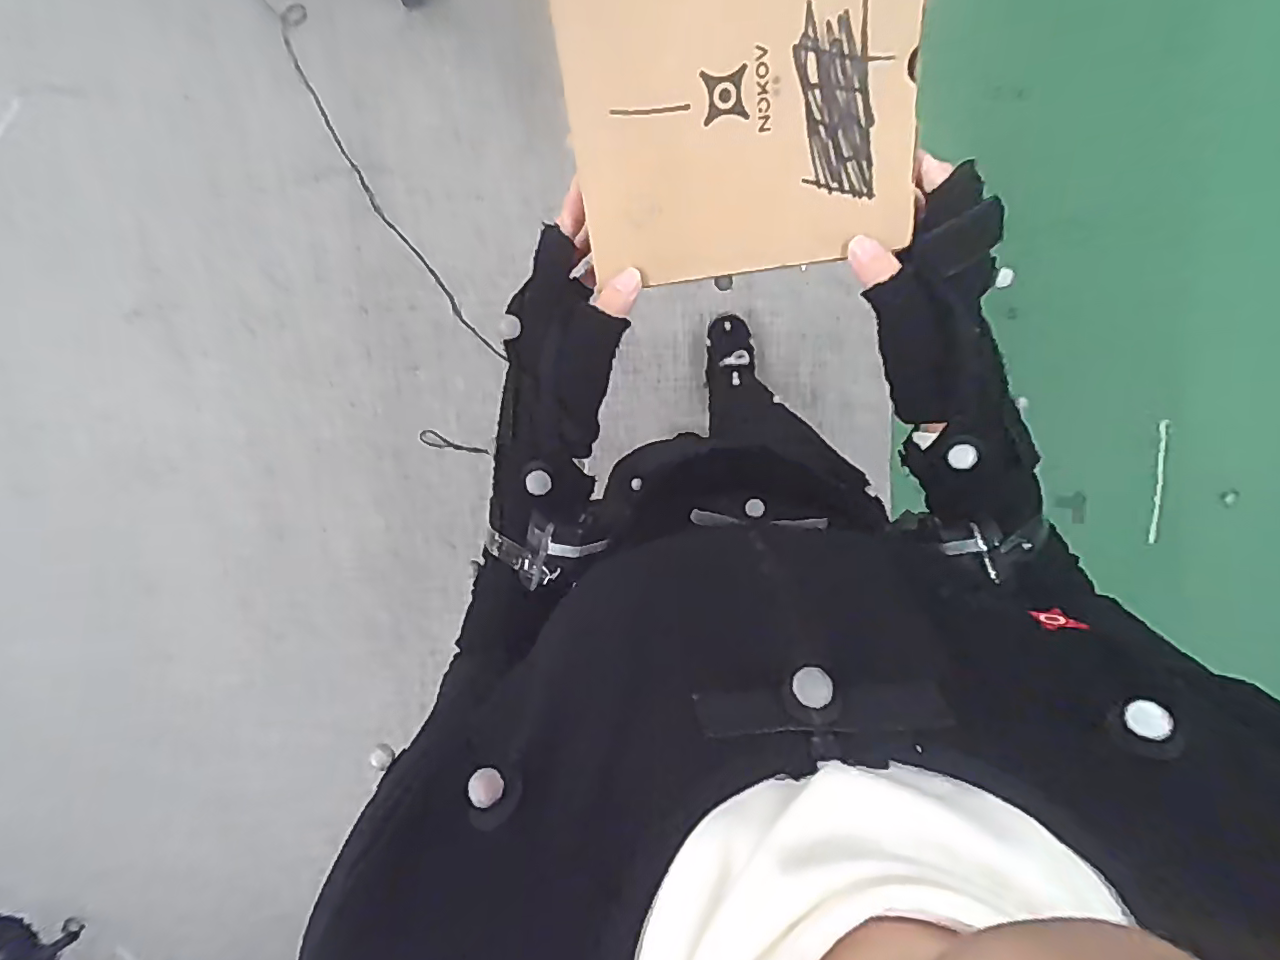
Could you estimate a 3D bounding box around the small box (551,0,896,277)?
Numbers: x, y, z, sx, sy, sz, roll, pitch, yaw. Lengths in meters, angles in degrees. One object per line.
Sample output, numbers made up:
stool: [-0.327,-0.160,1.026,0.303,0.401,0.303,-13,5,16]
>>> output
small box: [0.049,-0.239,0.363,0.179,0.176,0.168,-6,114,5]
